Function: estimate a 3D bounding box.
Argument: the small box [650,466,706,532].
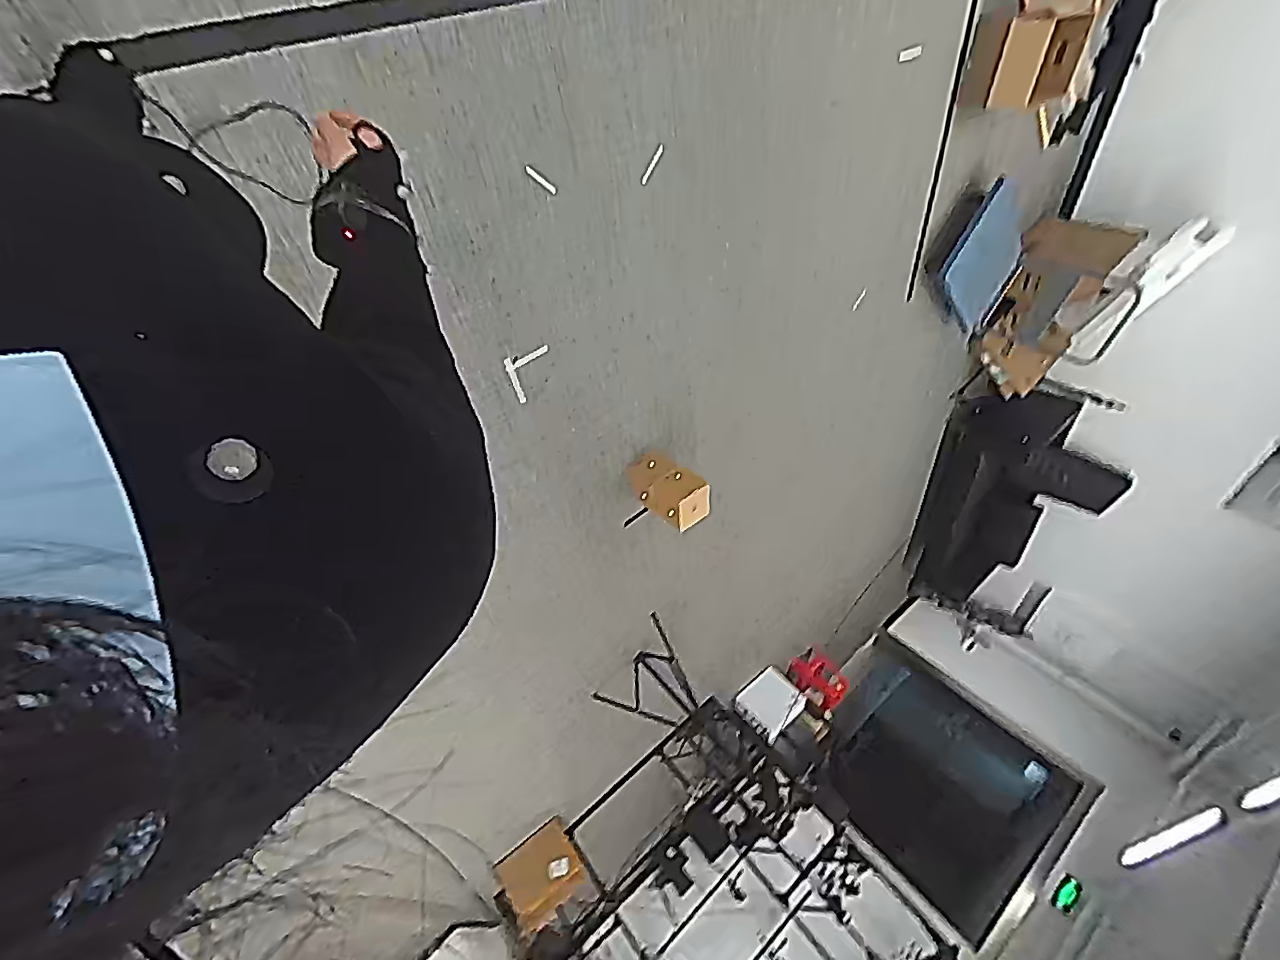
[{"bbox_3d":[0.155,0.075,2.228,0.168,0.176,0.179,-31,136,-26],"label":"small box"}]

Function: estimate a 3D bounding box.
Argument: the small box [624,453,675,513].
[{"bbox_3d":[0.048,0.004,2.329,0.168,0.176,0.179,-35,139,-21],"label":"small box"}]
